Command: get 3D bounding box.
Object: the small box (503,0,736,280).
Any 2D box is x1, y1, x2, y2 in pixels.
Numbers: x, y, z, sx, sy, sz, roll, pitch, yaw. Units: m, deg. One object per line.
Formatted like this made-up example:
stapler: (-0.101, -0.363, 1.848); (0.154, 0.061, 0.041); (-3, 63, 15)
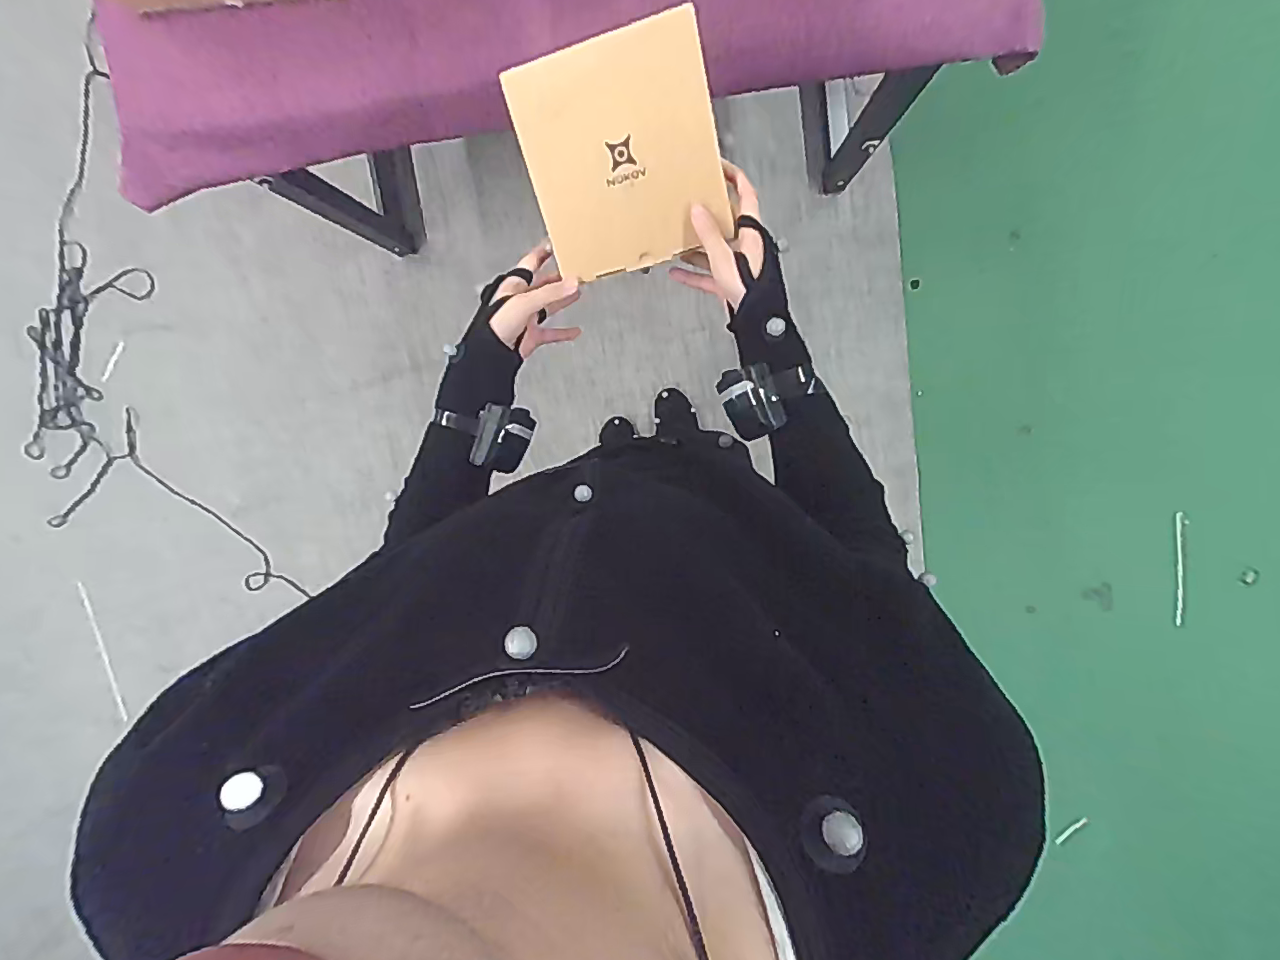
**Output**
small box: (-0.010, -0.311, 0.532); (0.168, 0.176, 0.179); (-12, 114, 9)
